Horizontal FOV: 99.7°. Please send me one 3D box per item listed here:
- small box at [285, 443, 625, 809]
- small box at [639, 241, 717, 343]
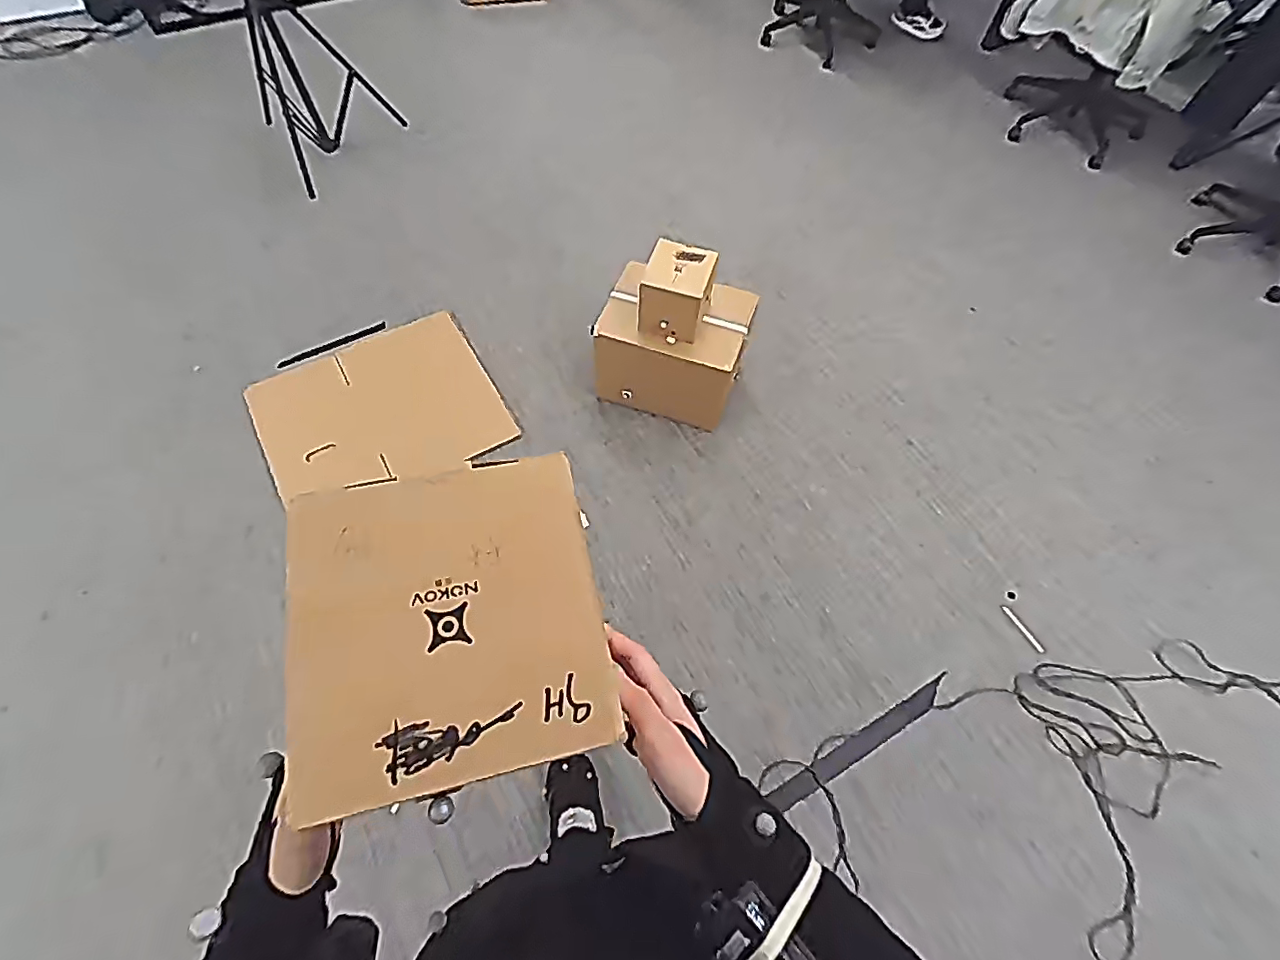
[{"bbox_3d":[-0.113,0.100,0.372,0.168,0.176,0.179,-11,66,-10],"label":"small box"},{"bbox_3d":[0.097,-0.505,1.460,0.168,0.176,0.179,17,64,7],"label":"small box"}]
